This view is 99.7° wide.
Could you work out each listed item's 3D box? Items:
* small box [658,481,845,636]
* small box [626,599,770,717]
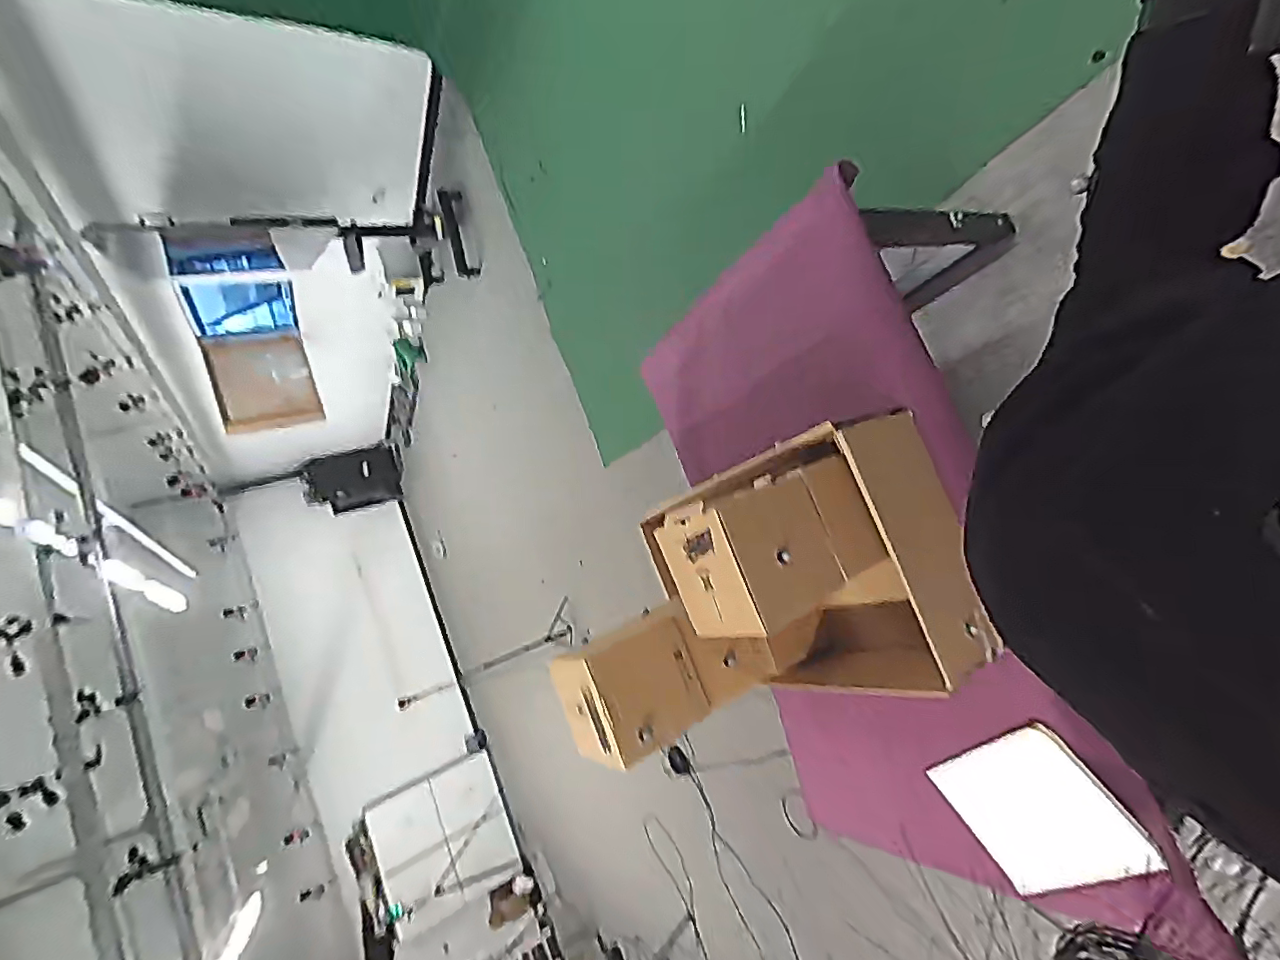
[{"bbox_3d":[0.160,0.112,0.791,0.168,0.176,0.179,-30,81,59],"label":"small box"},{"bbox_3d":[0.109,0.301,0.969,0.179,0.176,0.168,-29,79,56],"label":"small box"}]
